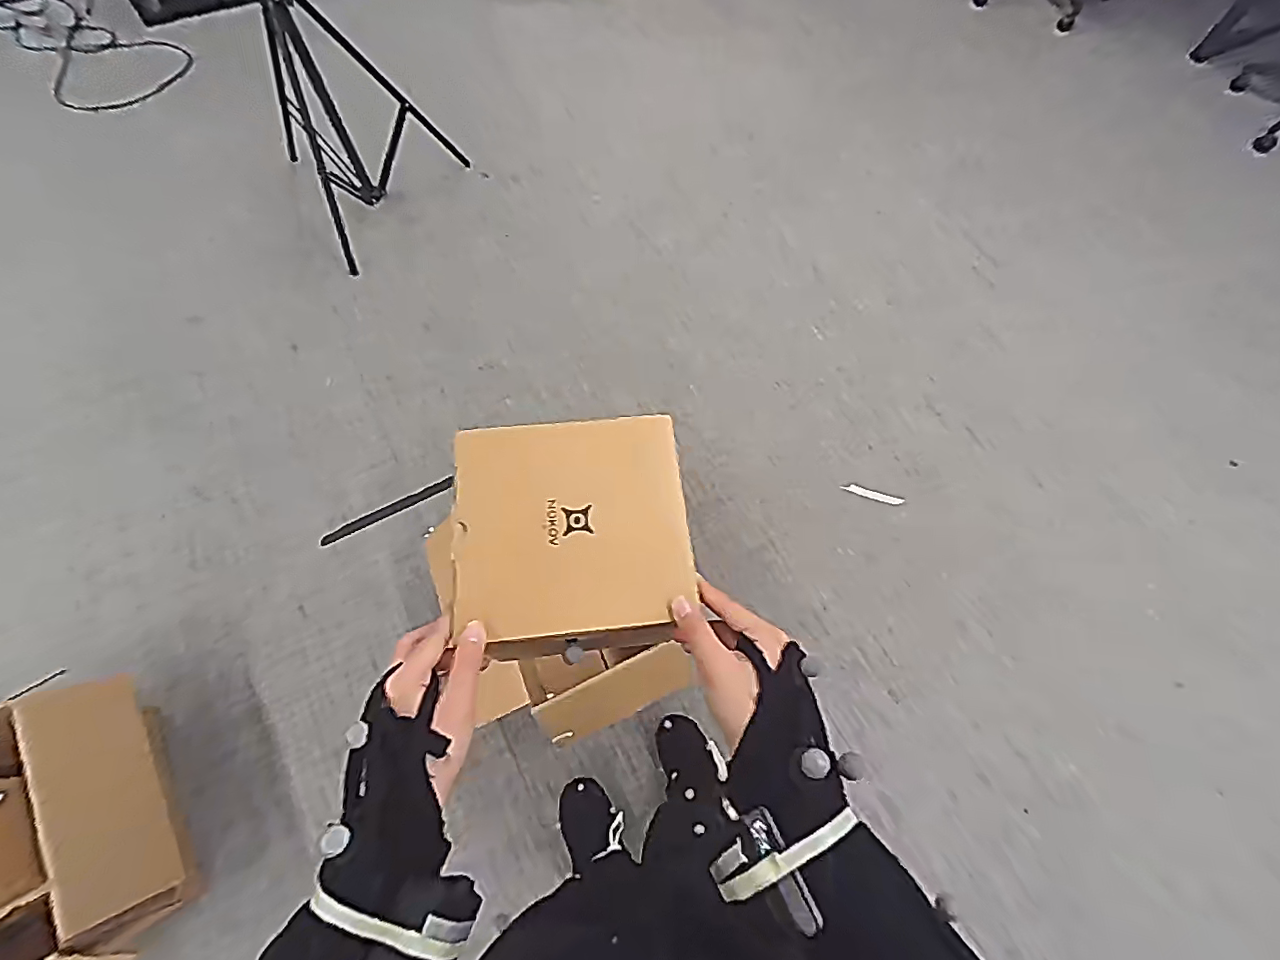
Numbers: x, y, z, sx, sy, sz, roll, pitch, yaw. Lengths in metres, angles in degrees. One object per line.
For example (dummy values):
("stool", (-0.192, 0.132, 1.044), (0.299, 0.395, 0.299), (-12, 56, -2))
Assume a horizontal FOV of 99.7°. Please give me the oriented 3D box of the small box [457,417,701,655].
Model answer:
("small box", (-0.055, 0.059, 0.485), (0.179, 0.176, 0.168), (-6, 69, -5))
